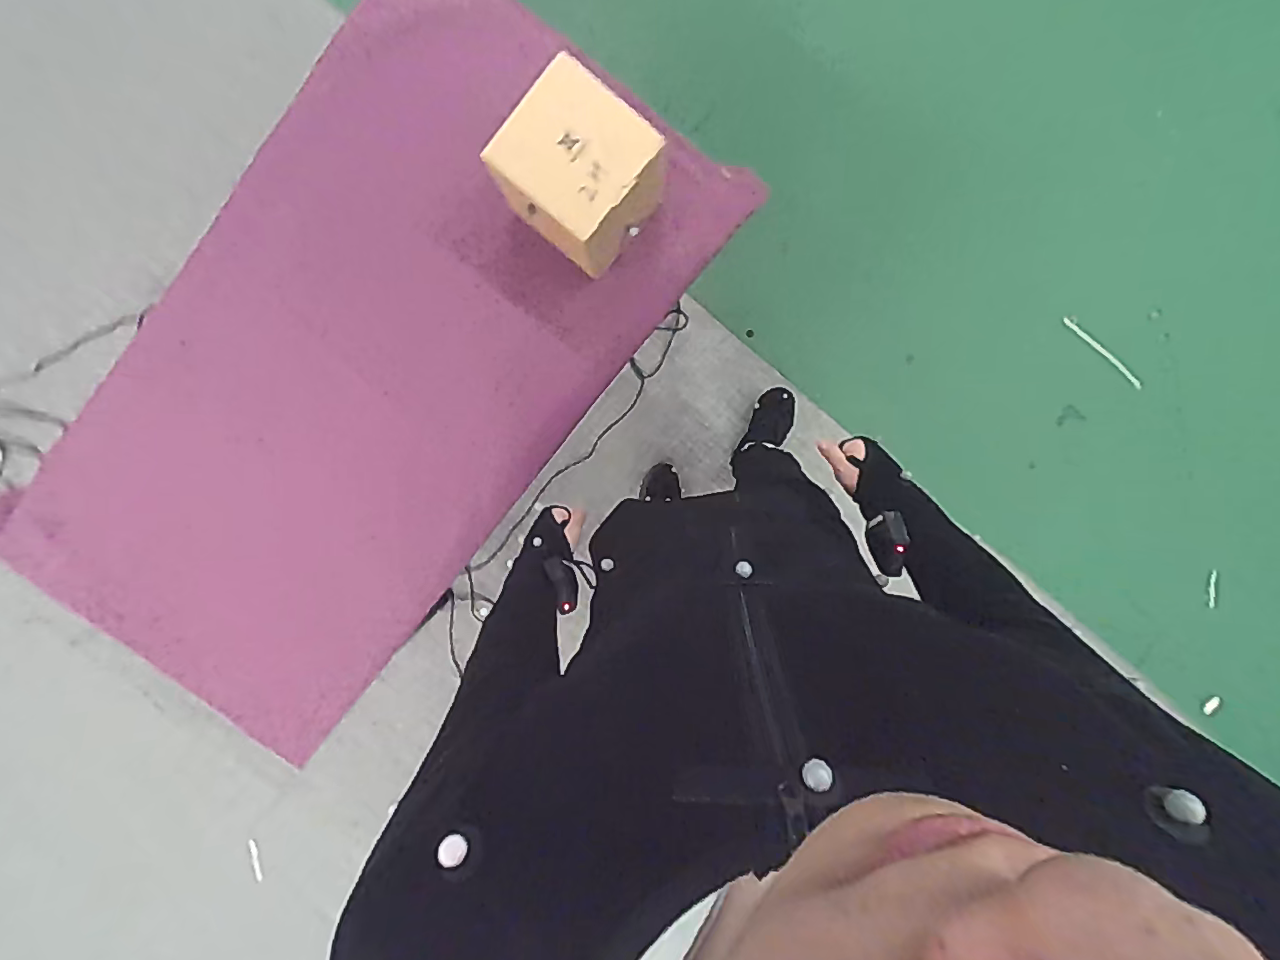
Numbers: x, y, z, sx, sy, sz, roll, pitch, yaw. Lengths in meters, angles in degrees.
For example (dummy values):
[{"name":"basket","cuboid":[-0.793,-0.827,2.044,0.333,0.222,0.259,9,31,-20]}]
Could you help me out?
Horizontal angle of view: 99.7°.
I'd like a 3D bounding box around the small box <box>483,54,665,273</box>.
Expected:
[{"name":"small box","cuboid":[-0.083,-0.426,0.765,0.179,0.176,0.168,40,95,-2]}]
